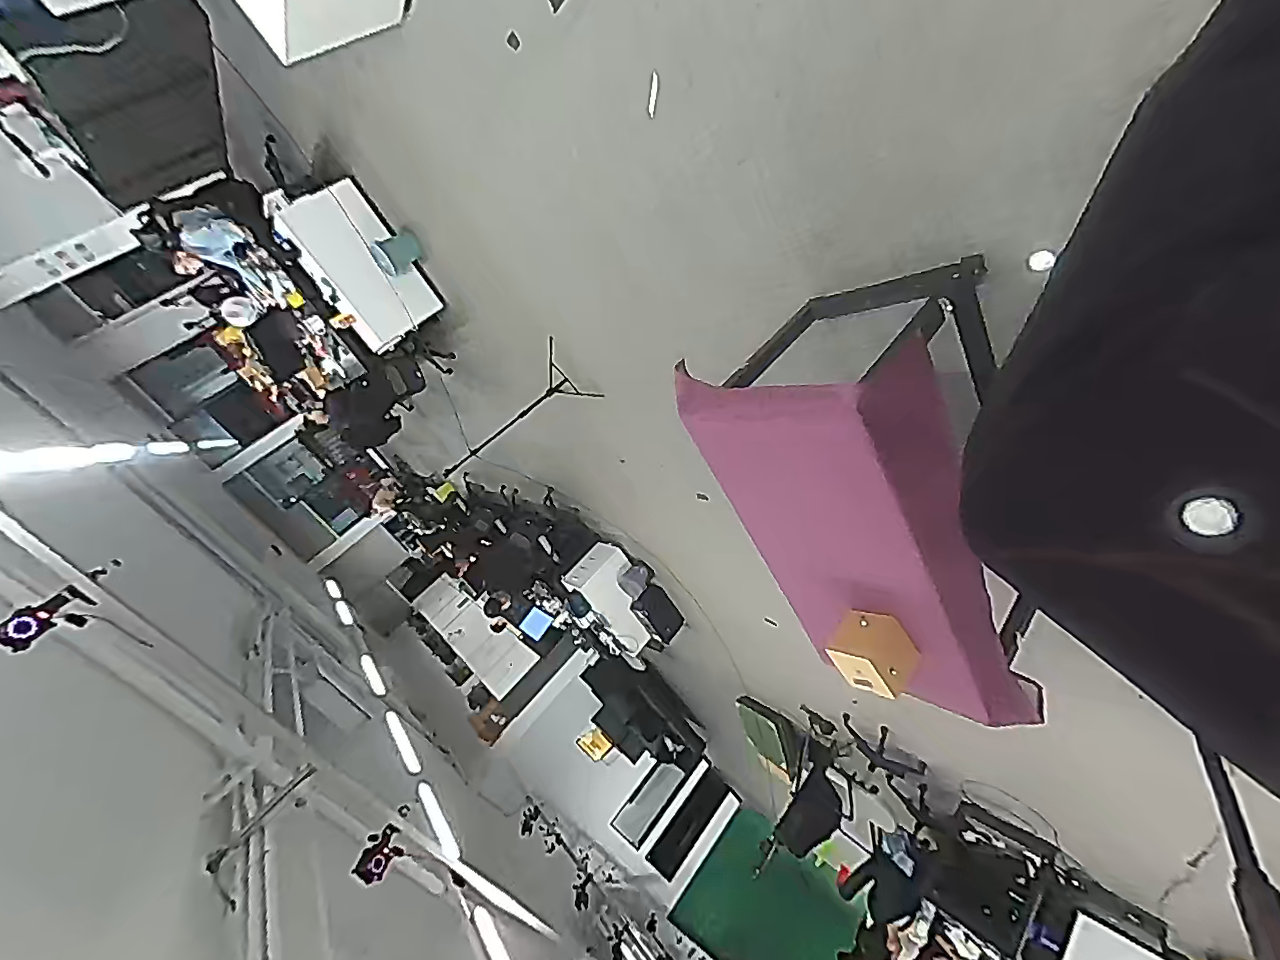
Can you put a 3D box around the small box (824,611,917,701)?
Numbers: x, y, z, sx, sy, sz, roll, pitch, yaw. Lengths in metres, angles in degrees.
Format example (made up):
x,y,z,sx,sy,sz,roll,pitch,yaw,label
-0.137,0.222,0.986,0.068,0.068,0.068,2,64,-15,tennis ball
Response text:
x,y,z,sx,sy,sz,roll,pitch,yaw,label
0.706,0.531,1.650,0.179,0.176,0.168,53,155,-15,small box
